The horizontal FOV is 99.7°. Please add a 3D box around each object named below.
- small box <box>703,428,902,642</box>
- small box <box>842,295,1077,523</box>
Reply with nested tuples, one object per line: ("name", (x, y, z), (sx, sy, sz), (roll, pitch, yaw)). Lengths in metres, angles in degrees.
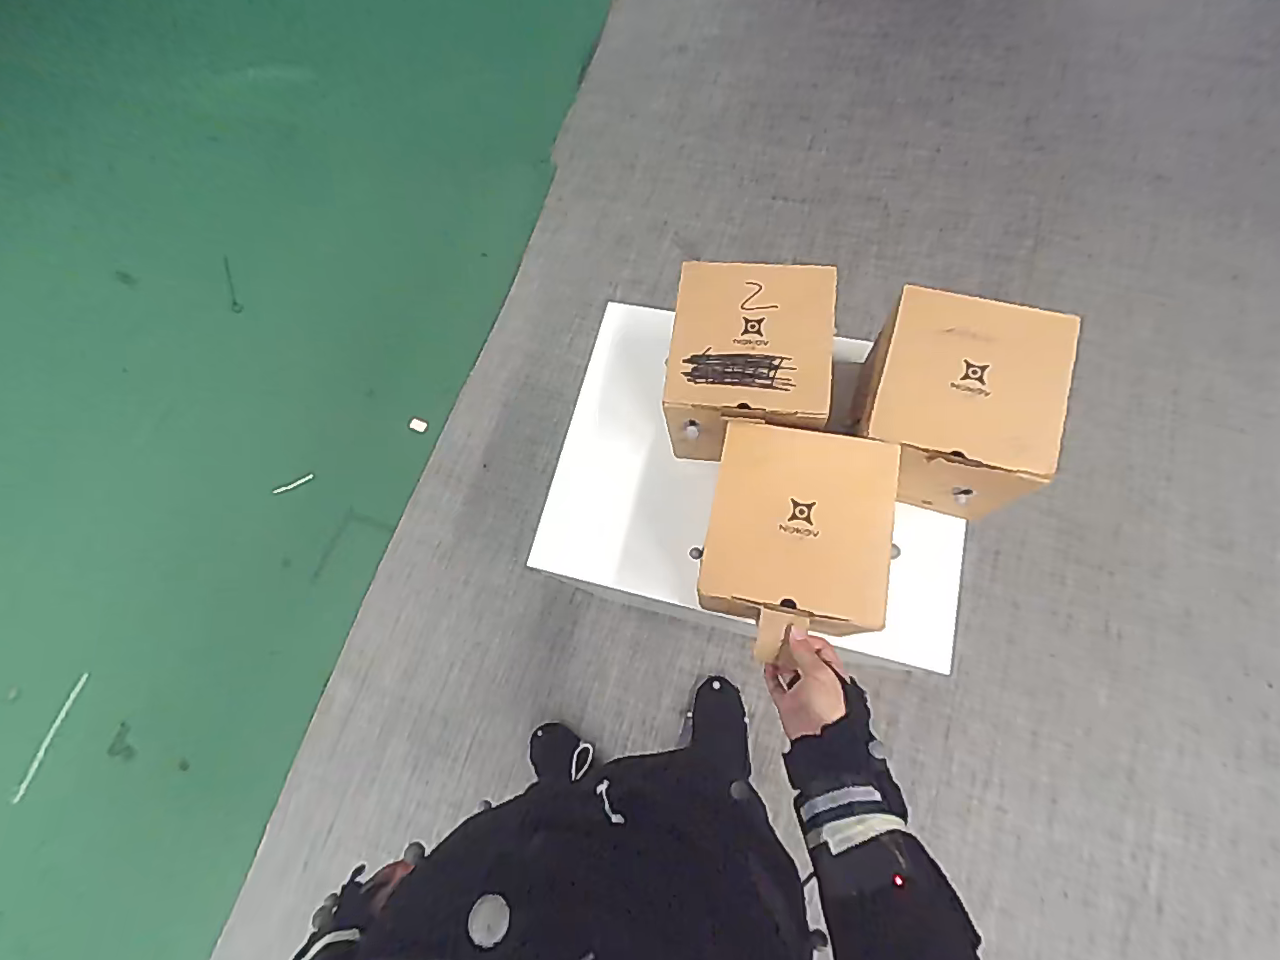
("small box", (0.161, 0.067, 0.577), (0.168, 0.176, 0.179), (9, 73, 10))
("small box", (0.329, -0.067, 0.594), (0.168, 0.176, 0.179), (16, 75, 12))
